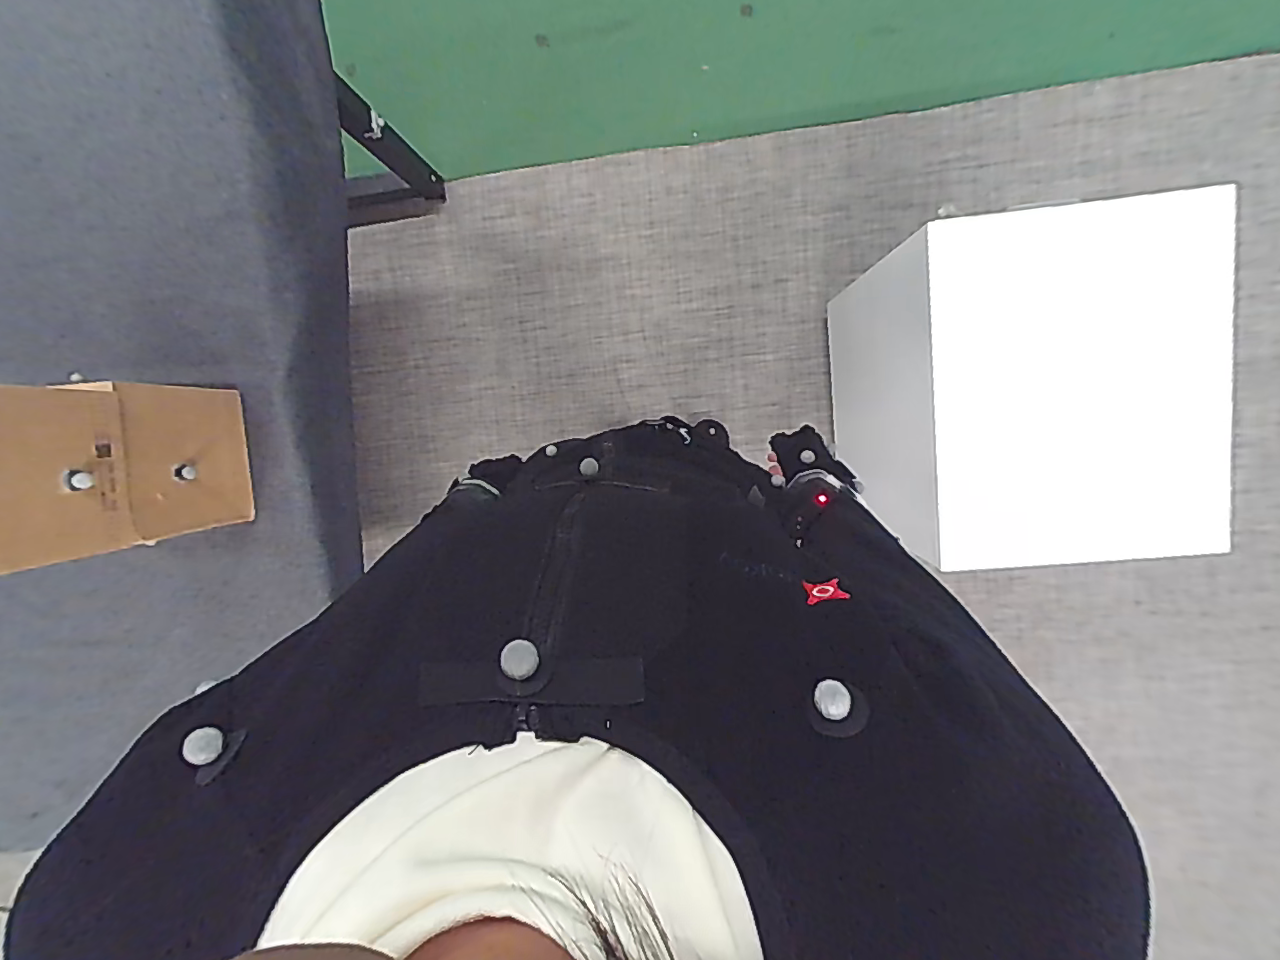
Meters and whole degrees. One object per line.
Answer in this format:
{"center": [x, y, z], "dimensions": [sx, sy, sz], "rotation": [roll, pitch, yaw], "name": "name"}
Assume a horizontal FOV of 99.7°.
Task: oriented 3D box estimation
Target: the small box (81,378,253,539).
{"center": [-0.619, -0.030, 0.666], "dimensions": [0.168, 0.176, 0.179], "rotation": [-3, 97, 6], "name": "small box"}

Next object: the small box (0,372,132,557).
{"center": [-0.640, -0.012, 0.504], "dimensions": [0.179, 0.176, 0.168], "rotation": [-3, 96, 8], "name": "small box"}
